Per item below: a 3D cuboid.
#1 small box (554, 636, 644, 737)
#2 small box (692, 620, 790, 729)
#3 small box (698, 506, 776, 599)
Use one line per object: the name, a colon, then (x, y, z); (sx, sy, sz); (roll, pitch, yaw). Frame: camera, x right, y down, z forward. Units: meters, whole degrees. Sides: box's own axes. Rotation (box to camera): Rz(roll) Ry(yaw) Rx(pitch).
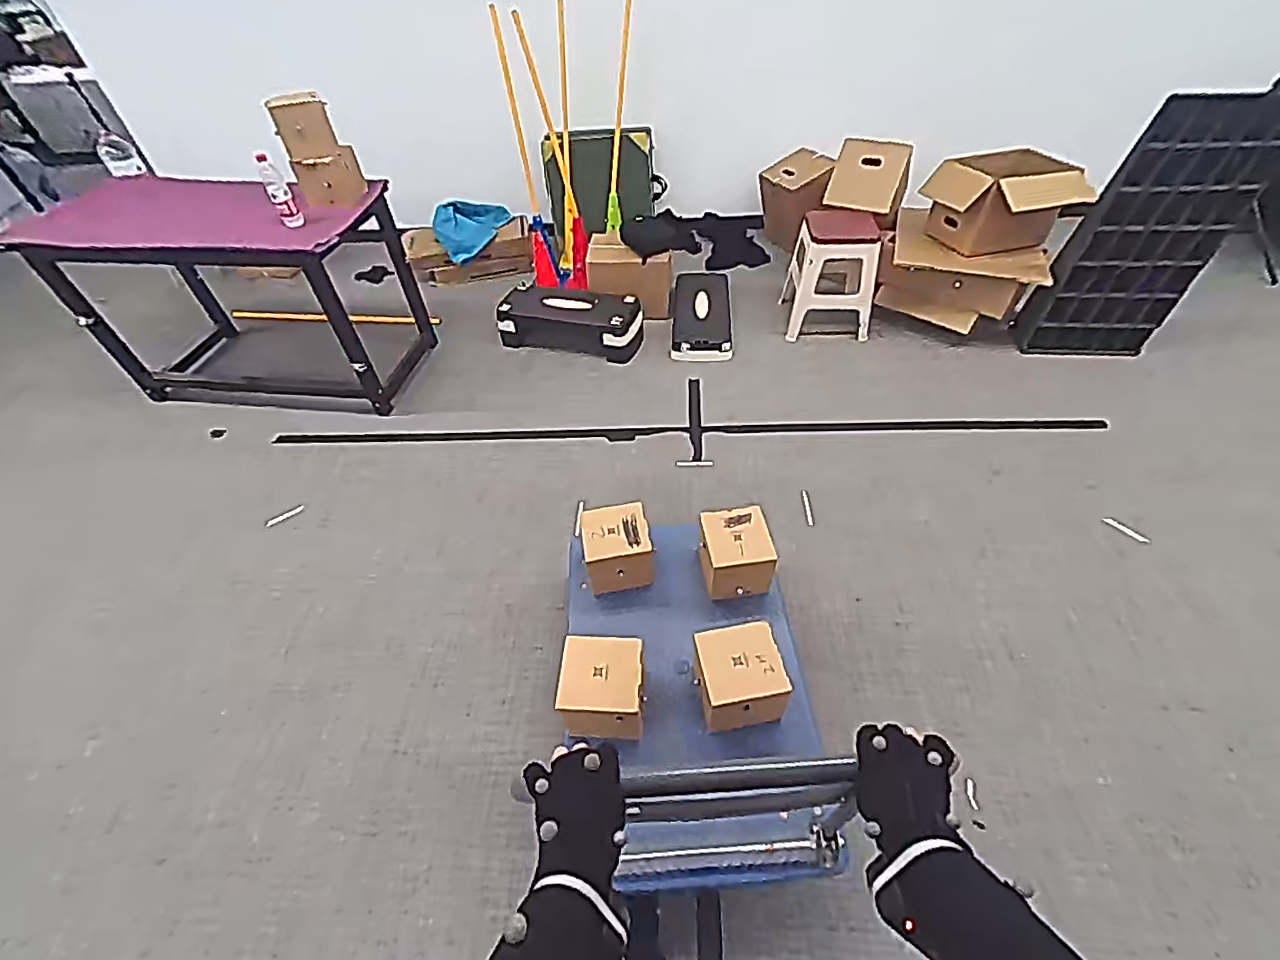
small box: (-0.084, 0.468, 1.221); (0.179, 0.176, 0.168); (1, 47, 3)
small box: (0.220, 0.443, 1.222); (0.179, 0.176, 0.168); (-9, 48, -4)
small box: (0.251, 0.195, 1.448); (0.168, 0.176, 0.179); (-8, 48, -3)
